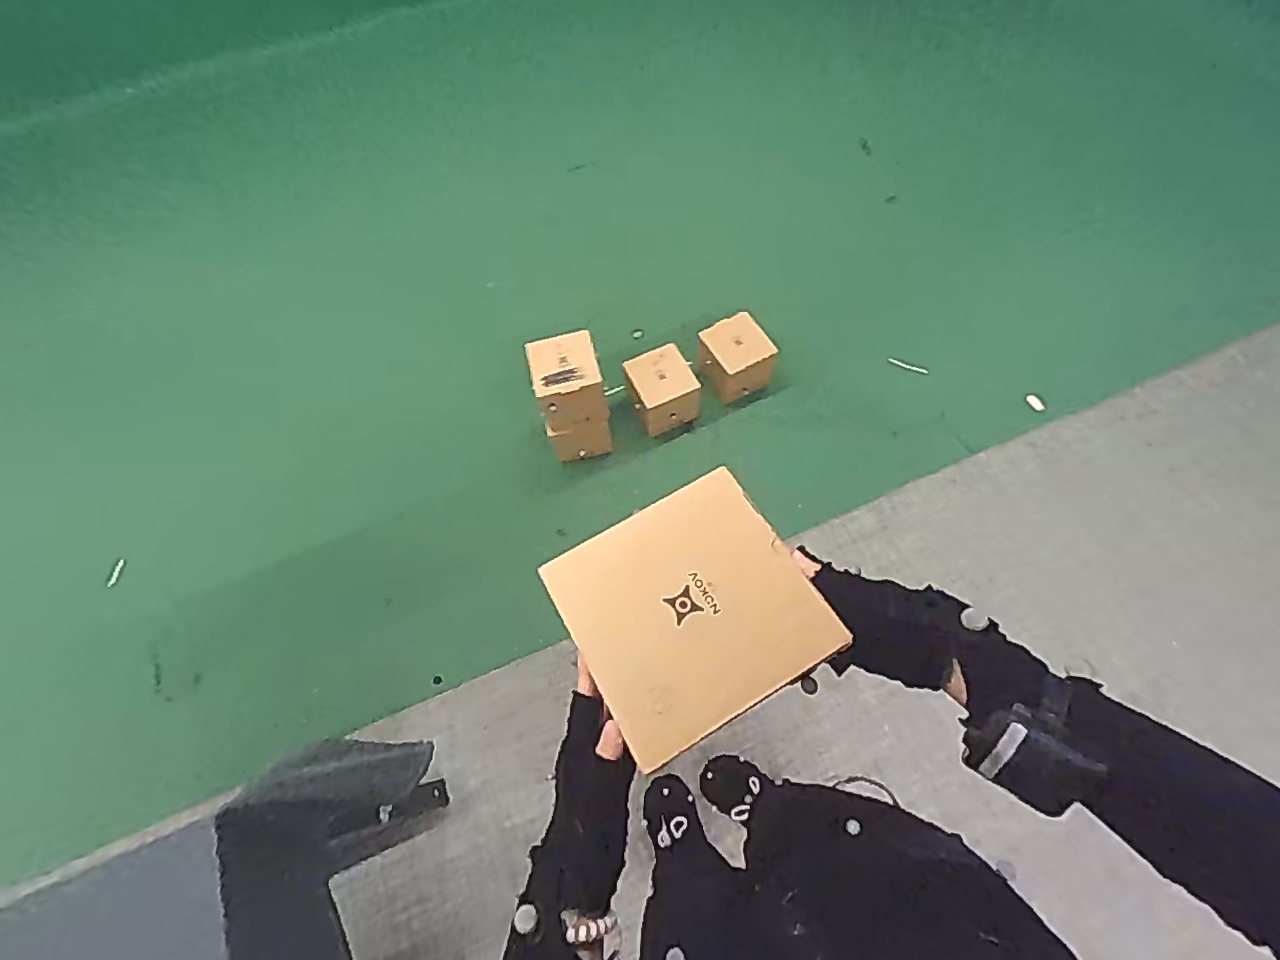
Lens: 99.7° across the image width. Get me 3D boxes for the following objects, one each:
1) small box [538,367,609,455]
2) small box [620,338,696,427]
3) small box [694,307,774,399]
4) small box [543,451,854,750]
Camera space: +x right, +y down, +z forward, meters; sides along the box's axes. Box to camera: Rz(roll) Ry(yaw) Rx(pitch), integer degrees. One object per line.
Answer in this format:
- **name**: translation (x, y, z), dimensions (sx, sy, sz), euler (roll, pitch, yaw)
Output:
- **small box**: translation (-0.190, -0.195, 1.562), dimensions (0.168, 0.176, 0.179), euler (-13, 67, -3)
- **small box**: translation (0.053, -0.276, 1.590), dimensions (0.168, 0.176, 0.179), euler (-24, 66, -9)
- **small box**: translation (0.275, -0.379, 1.631), dimensions (0.168, 0.176, 0.179), euler (-27, 67, -10)
- **small box**: translation (0.042, 0.111, 0.463), dimensions (0.179, 0.176, 0.168), euler (-27, 65, -11)
